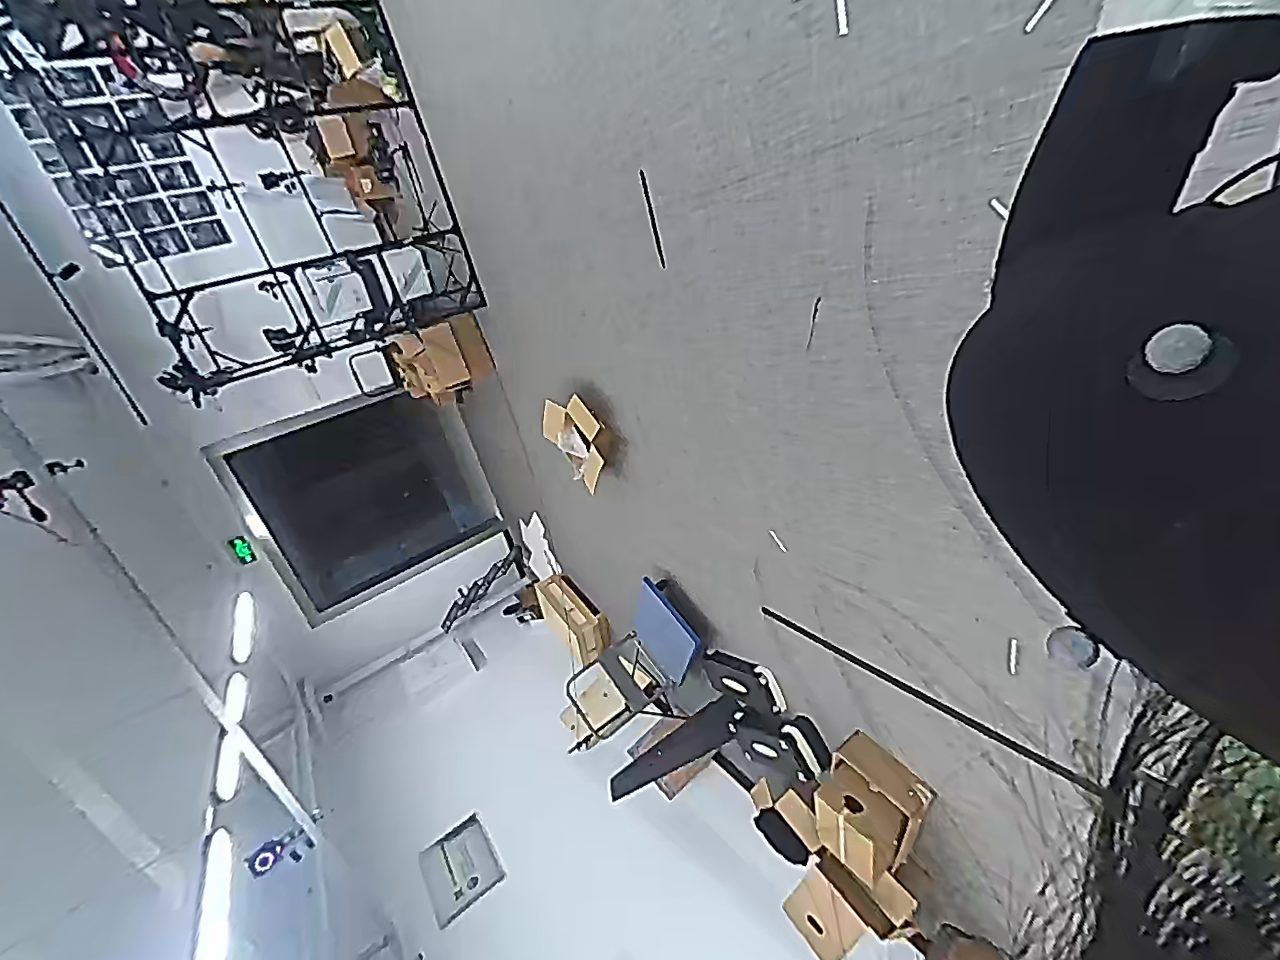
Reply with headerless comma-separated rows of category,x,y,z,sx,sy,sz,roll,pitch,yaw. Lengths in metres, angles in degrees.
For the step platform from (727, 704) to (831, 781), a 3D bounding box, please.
step platform,0.806,1.563,3.248,0.286,0.204,0.684,61,153,3
